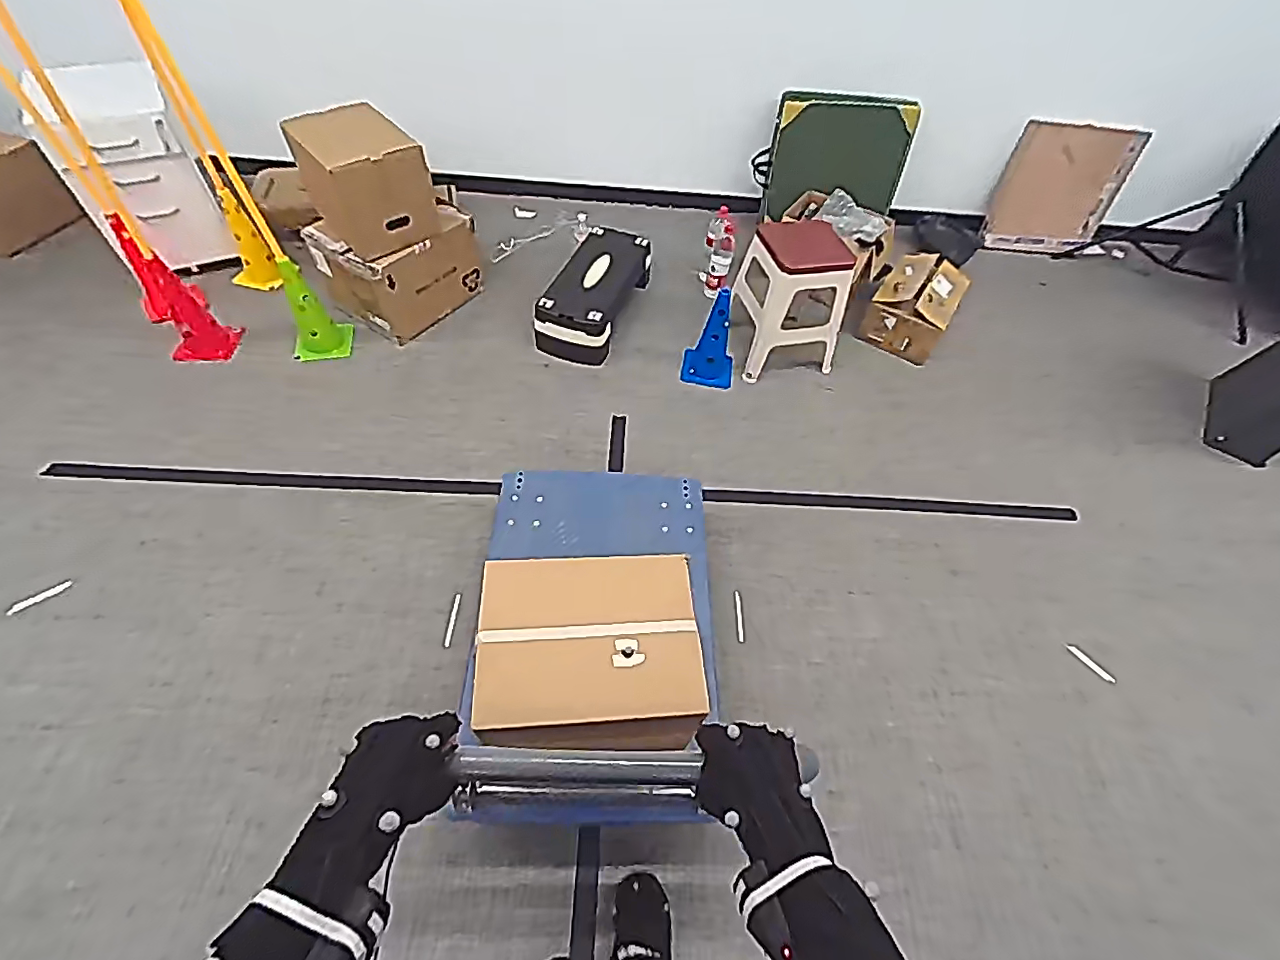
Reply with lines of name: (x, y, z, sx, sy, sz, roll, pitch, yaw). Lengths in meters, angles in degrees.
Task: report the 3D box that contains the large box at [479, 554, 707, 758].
large box: (-0.107, 0.371, 1.137, 0.408, 0.320, 0.320, 0, 54, -8)
